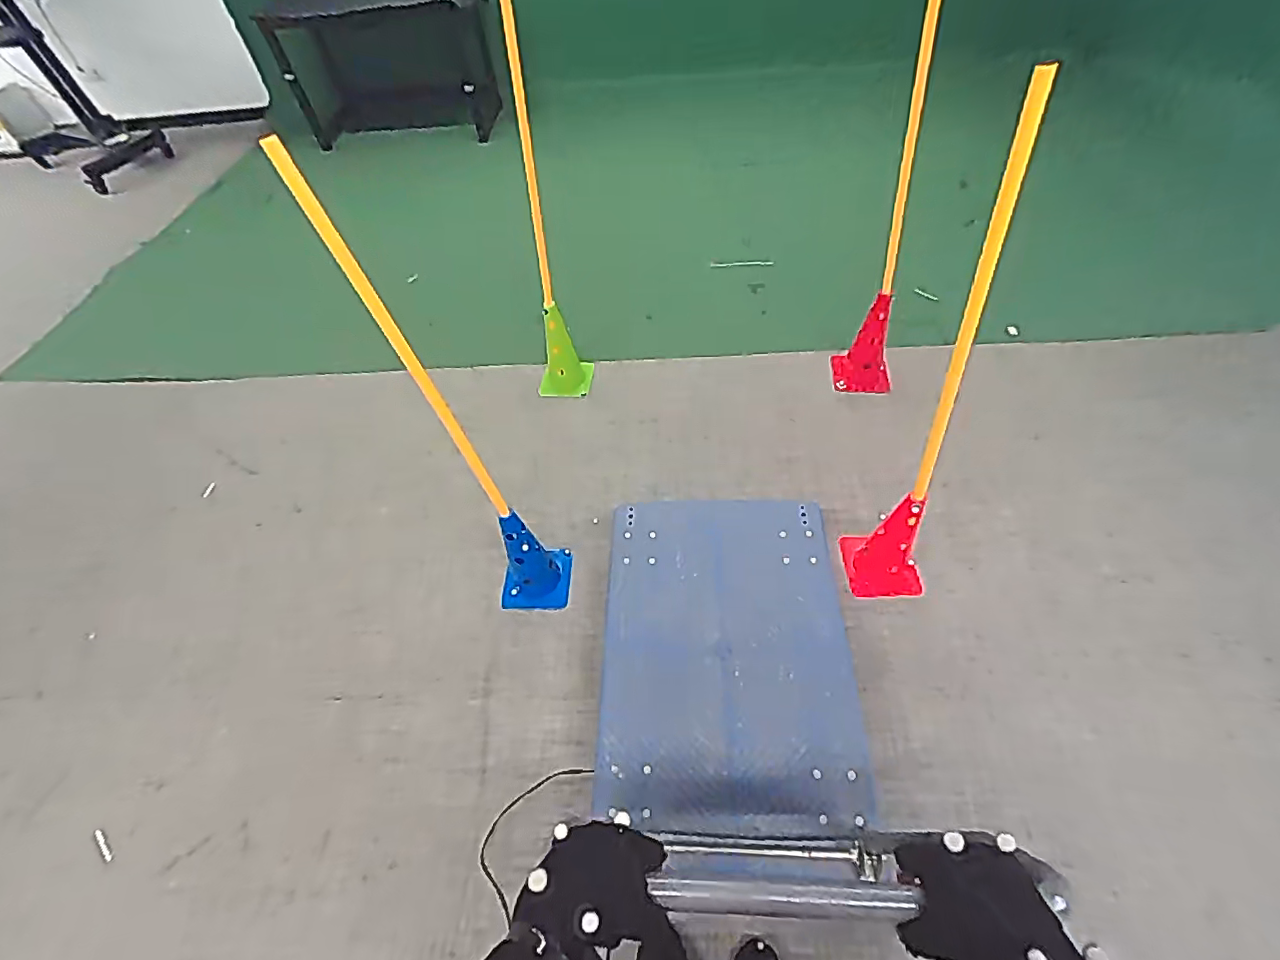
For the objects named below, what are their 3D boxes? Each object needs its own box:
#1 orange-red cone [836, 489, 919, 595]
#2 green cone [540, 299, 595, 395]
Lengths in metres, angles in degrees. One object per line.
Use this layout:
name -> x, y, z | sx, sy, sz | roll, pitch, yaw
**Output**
orange-red cone -> 0.676, 0.143, 1.456 | 0.199, 0.360, 0.198 | -3, 52, 5
green cone -> -0.305, -0.519, 2.038 | 0.202, 0.368, 0.200 | 2, 53, 8
